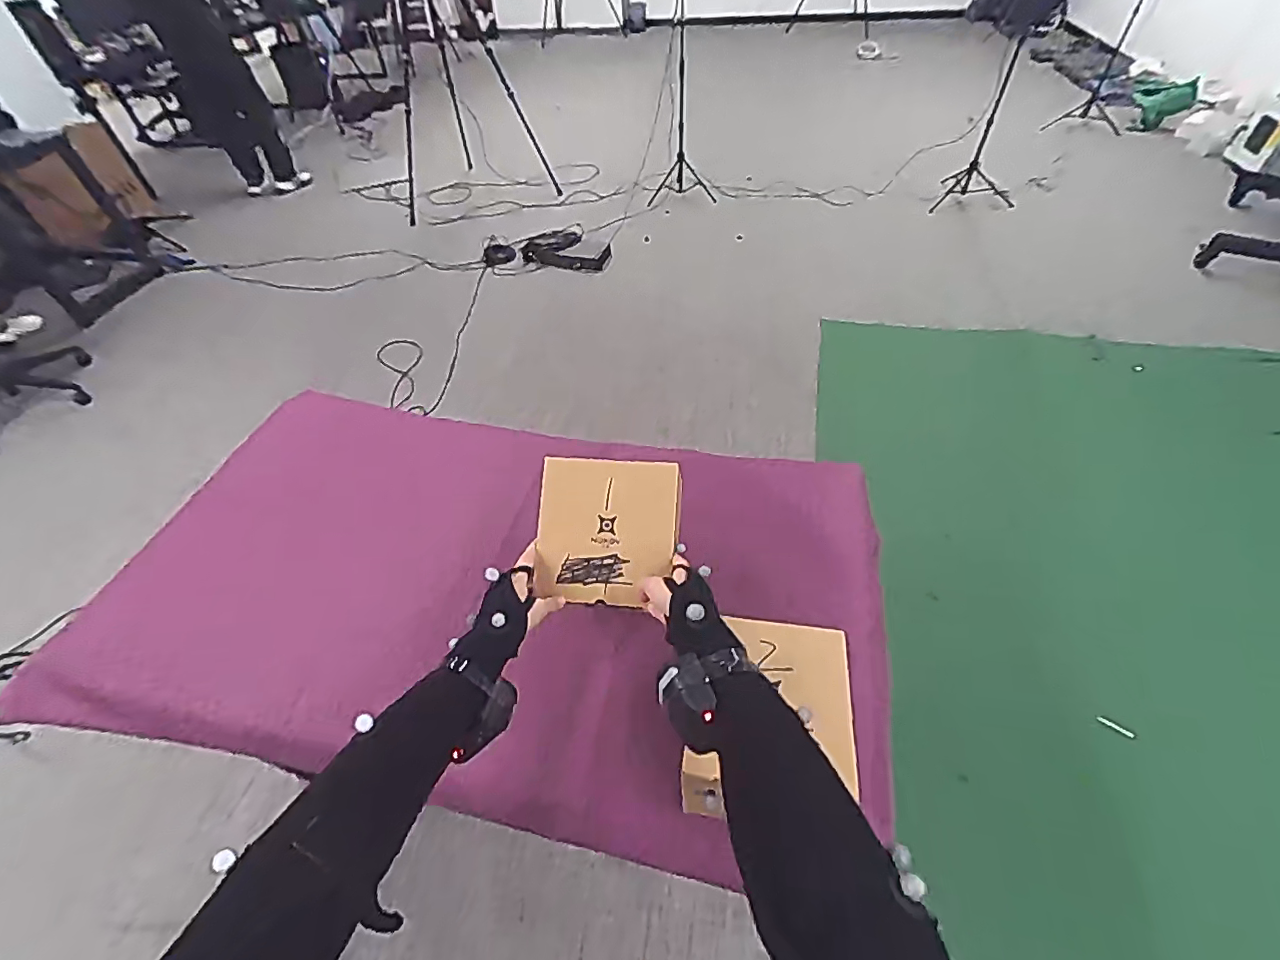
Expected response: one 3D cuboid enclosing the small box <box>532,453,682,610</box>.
[{"bbox_3d":[-0.033,0.068,0.715,0.168,0.176,0.179,4,83,5],"label":"small box"}]
